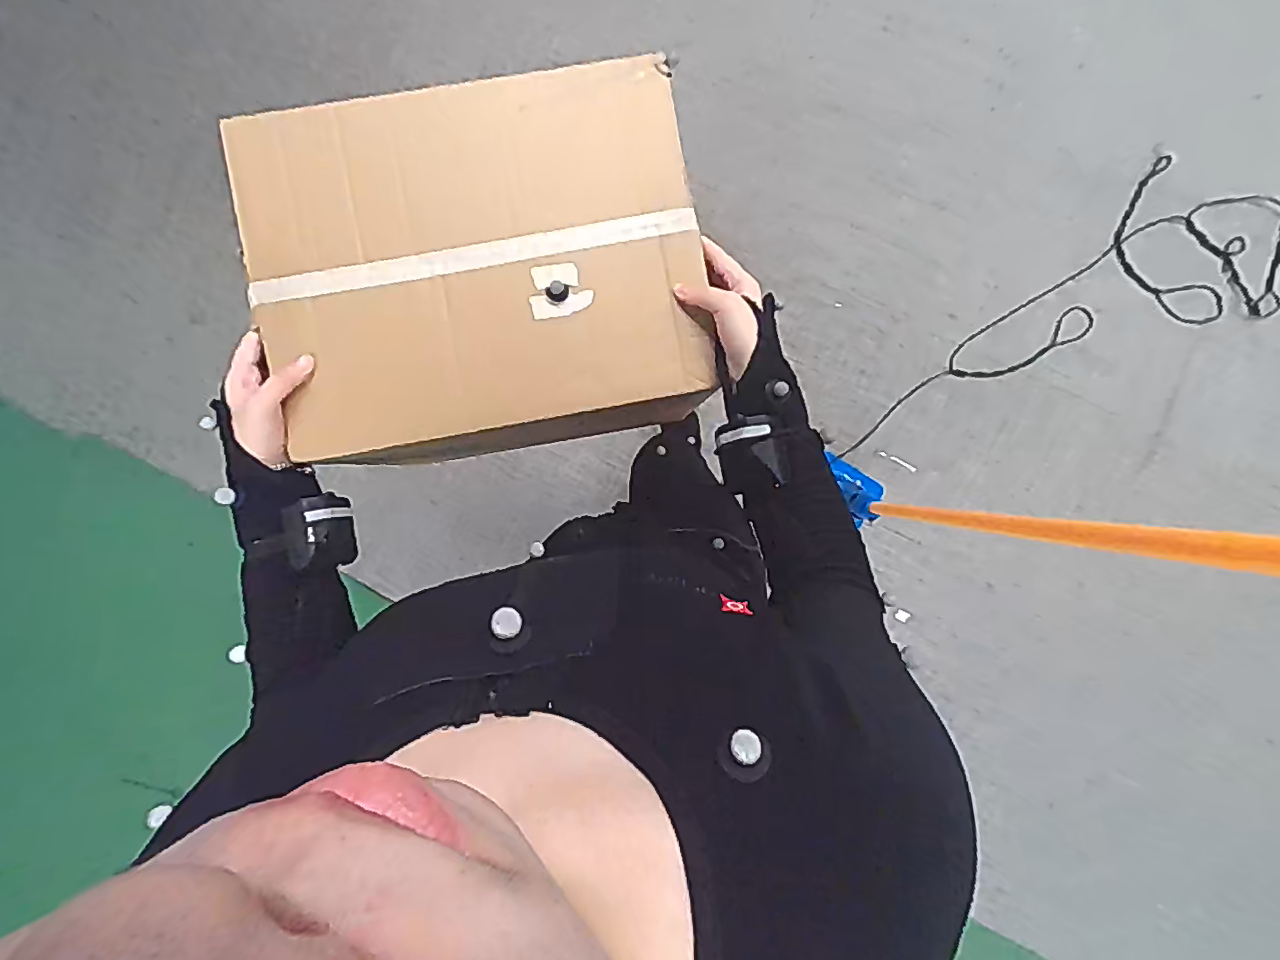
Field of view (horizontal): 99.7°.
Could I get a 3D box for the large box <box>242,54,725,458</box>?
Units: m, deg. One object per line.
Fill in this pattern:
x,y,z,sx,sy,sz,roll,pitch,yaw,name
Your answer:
-0.150,-0.217,0.649,0.408,0.320,0.320,-10,92,-4,large box
